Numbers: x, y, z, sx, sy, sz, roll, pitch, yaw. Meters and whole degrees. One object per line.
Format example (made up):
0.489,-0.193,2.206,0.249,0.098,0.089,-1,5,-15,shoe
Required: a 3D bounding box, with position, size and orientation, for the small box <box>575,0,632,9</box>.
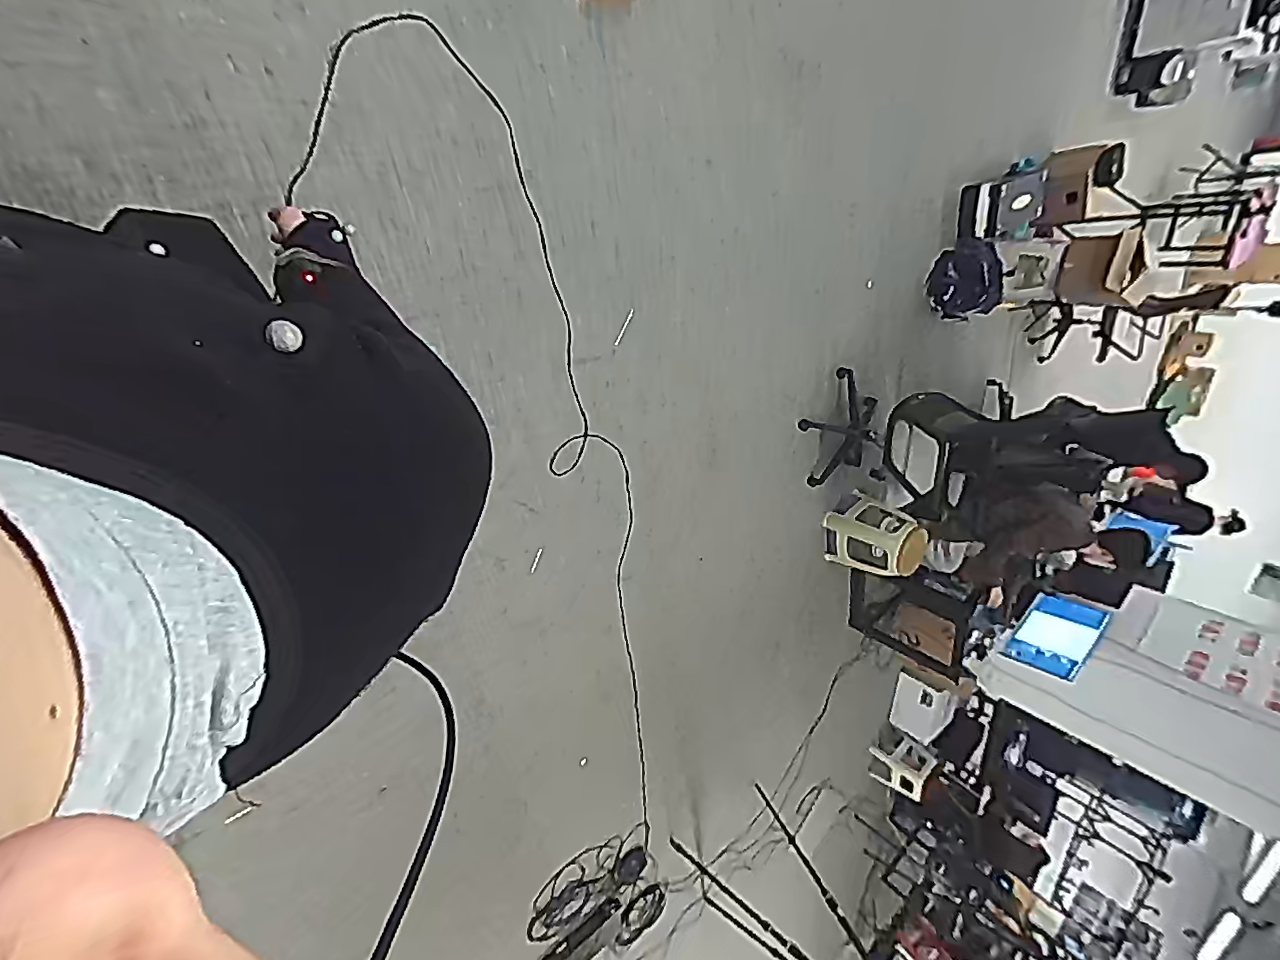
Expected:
-0.081,-1.409,1.461,0.179,0.176,0.168,-27,120,-30,small box
